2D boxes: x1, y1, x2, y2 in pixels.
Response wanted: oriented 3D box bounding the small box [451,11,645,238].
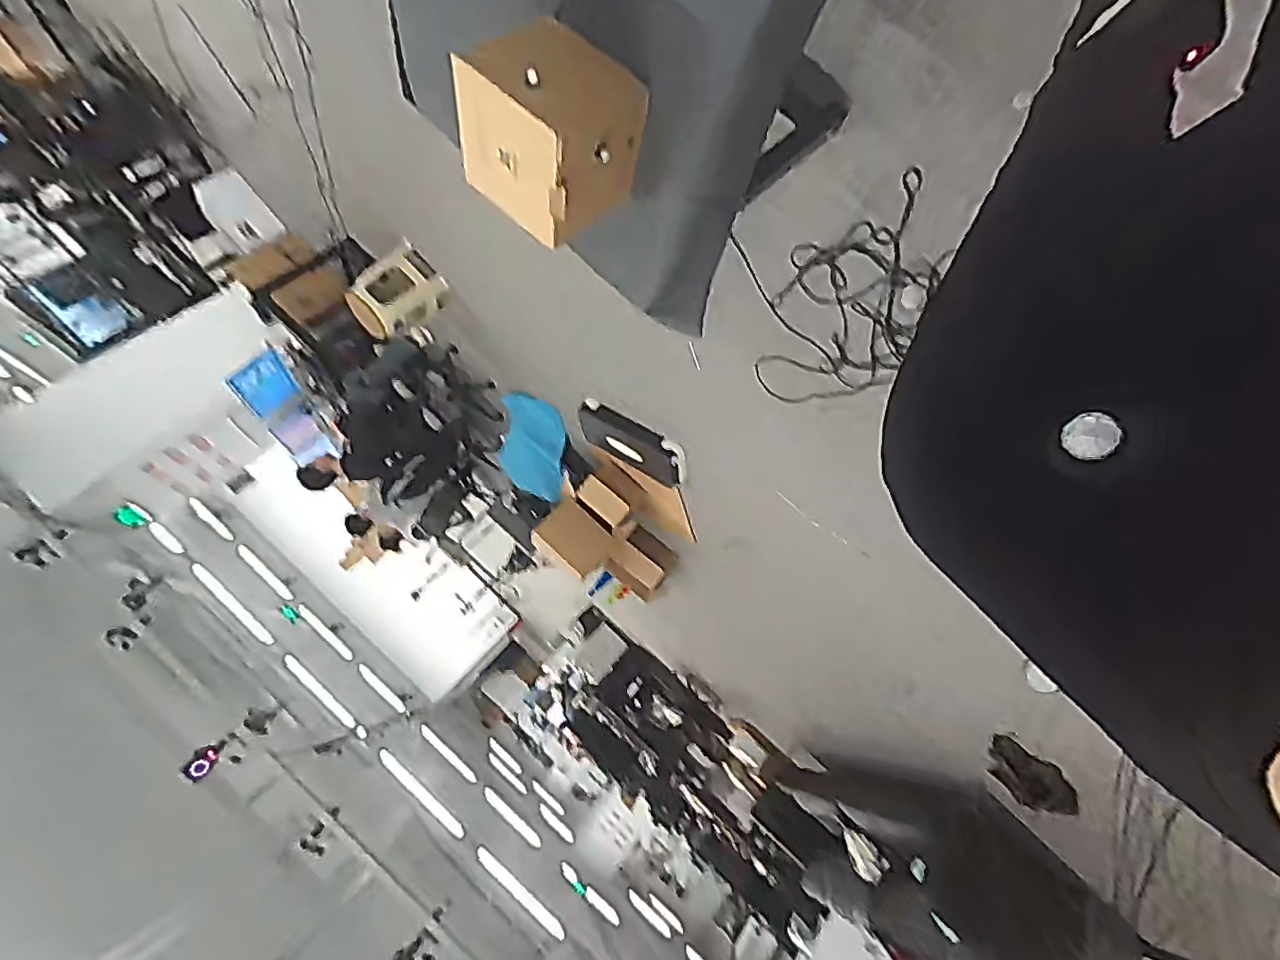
[{"bbox_3d":[-0.117,-0.470,0.716,0.179,0.176,0.168,42,155,8],"label":"small box"}]
